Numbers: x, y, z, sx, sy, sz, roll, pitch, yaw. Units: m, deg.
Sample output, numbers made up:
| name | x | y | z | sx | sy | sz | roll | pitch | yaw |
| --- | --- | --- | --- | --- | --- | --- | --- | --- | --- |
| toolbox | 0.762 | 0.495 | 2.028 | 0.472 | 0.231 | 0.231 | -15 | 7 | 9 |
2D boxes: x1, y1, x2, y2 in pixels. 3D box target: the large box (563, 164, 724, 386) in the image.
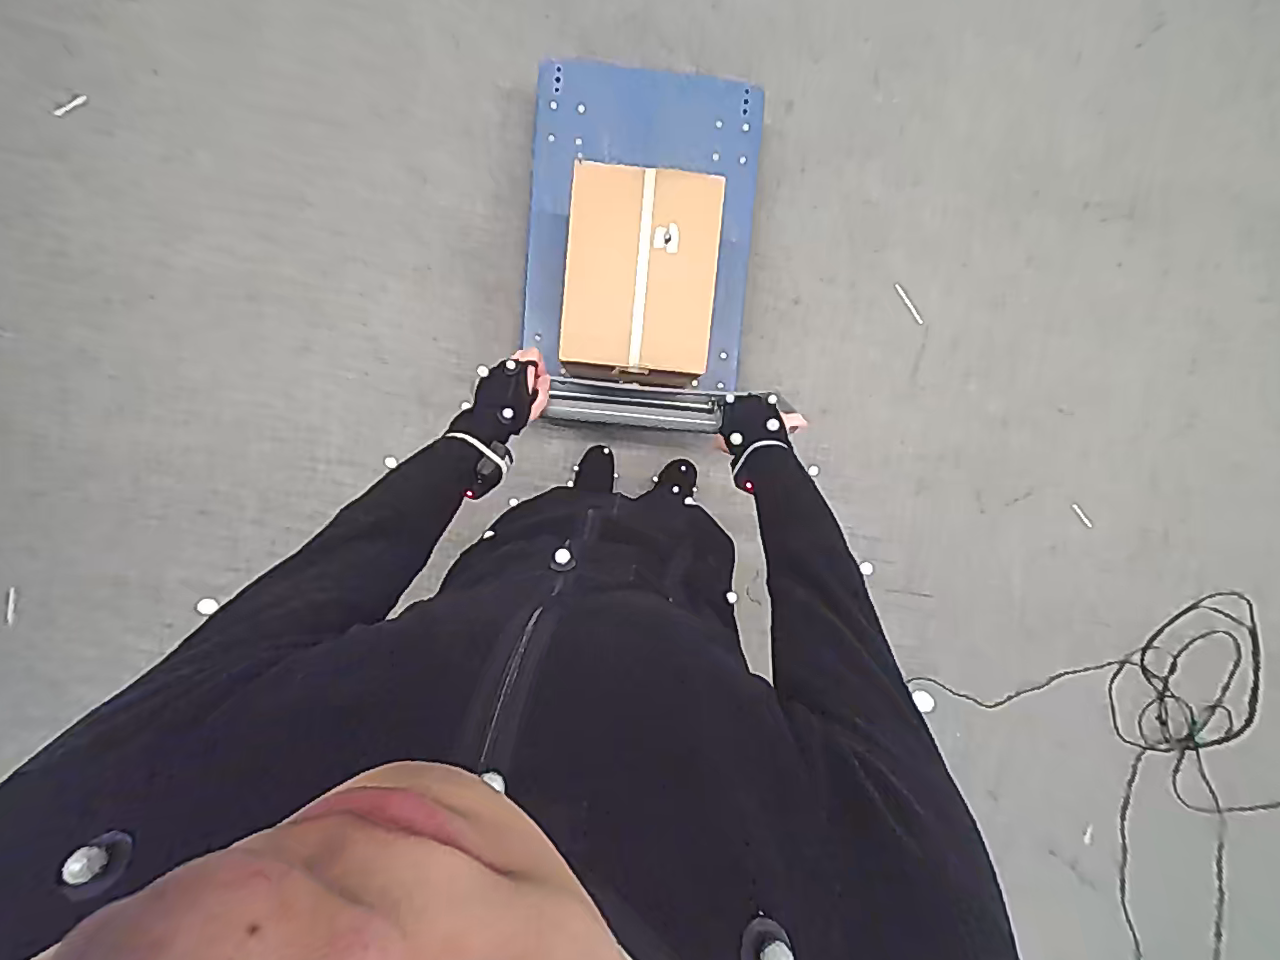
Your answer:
| name | x | y | z | sx | sy | sz | roll | pitch | yaw |
| --- | --- | --- | --- | --- | --- | --- | --- | --- | --- |
| large box | 0.003 | -0.442 | 1.261 | 0.320 | 0.320 | 0.408 | 5 | 94 | -3 |
